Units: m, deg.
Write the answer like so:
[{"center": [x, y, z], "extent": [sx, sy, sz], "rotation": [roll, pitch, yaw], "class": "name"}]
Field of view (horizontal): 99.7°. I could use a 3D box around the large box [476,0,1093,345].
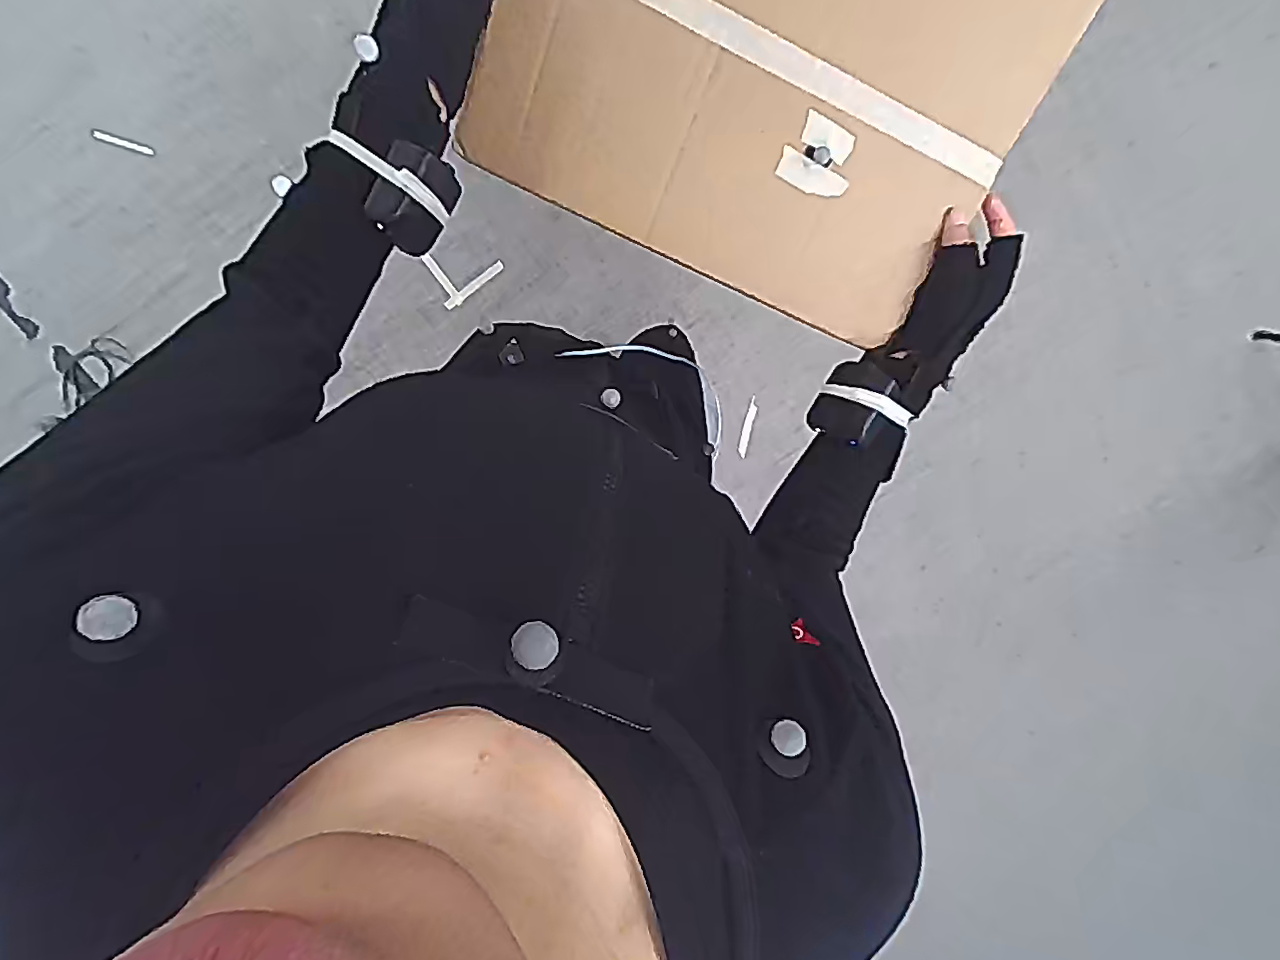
[{"center": [0.102, -0.381, 0.550], "extent": [0.408, 0.320, 0.320], "rotation": [22, 113, -10], "class": "large box"}]
